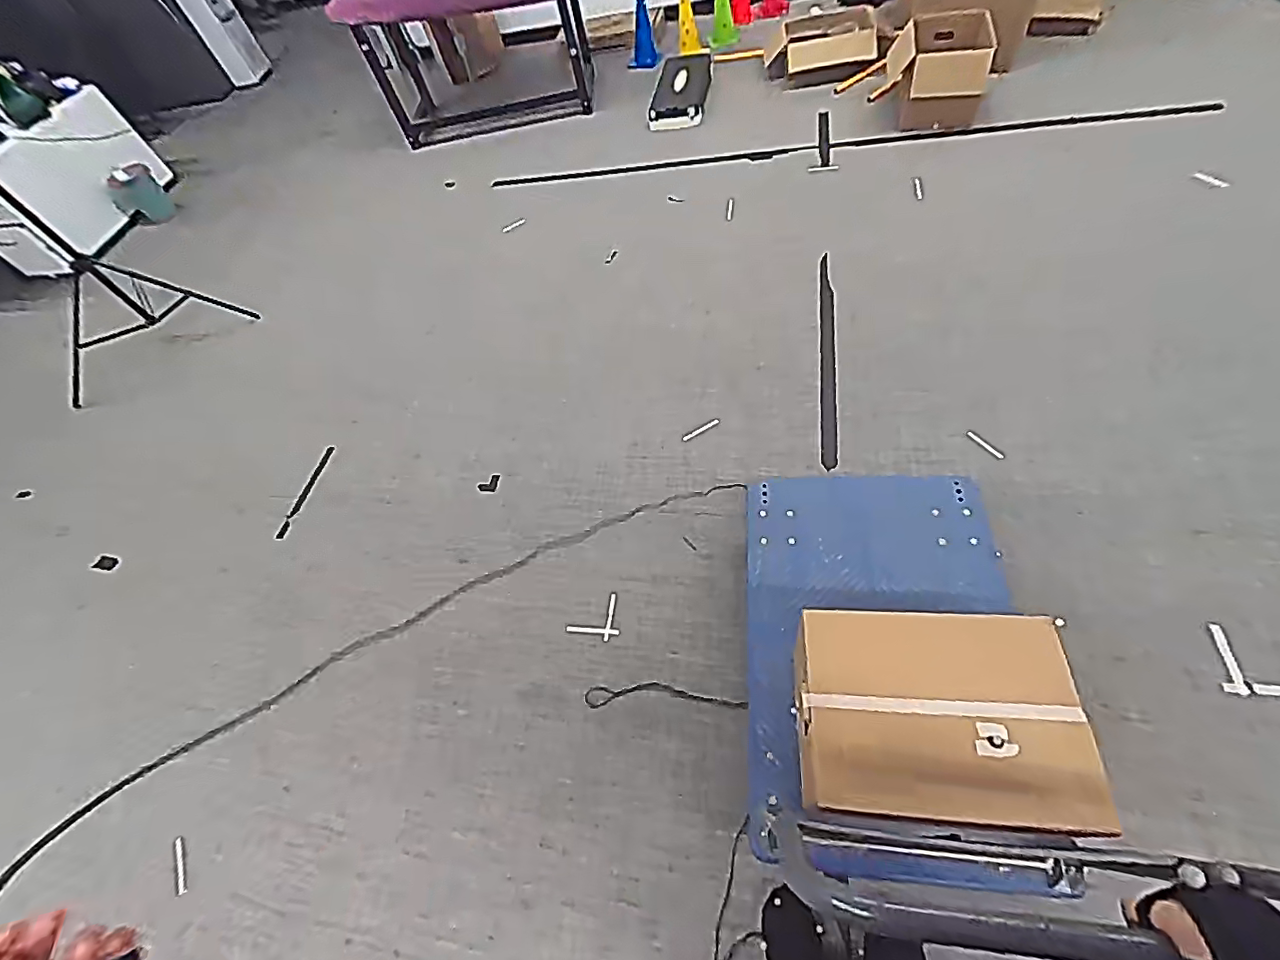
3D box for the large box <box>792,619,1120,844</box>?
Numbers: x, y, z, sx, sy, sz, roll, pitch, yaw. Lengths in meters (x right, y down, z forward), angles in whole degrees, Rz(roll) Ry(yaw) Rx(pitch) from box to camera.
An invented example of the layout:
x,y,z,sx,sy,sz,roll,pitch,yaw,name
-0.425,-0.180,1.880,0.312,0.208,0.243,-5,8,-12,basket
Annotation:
x,y,z,sx,sy,sz,roll,pitch,yaw,name
0.499,0.455,0.975,0.408,0.320,0.320,-1,57,11,large box
